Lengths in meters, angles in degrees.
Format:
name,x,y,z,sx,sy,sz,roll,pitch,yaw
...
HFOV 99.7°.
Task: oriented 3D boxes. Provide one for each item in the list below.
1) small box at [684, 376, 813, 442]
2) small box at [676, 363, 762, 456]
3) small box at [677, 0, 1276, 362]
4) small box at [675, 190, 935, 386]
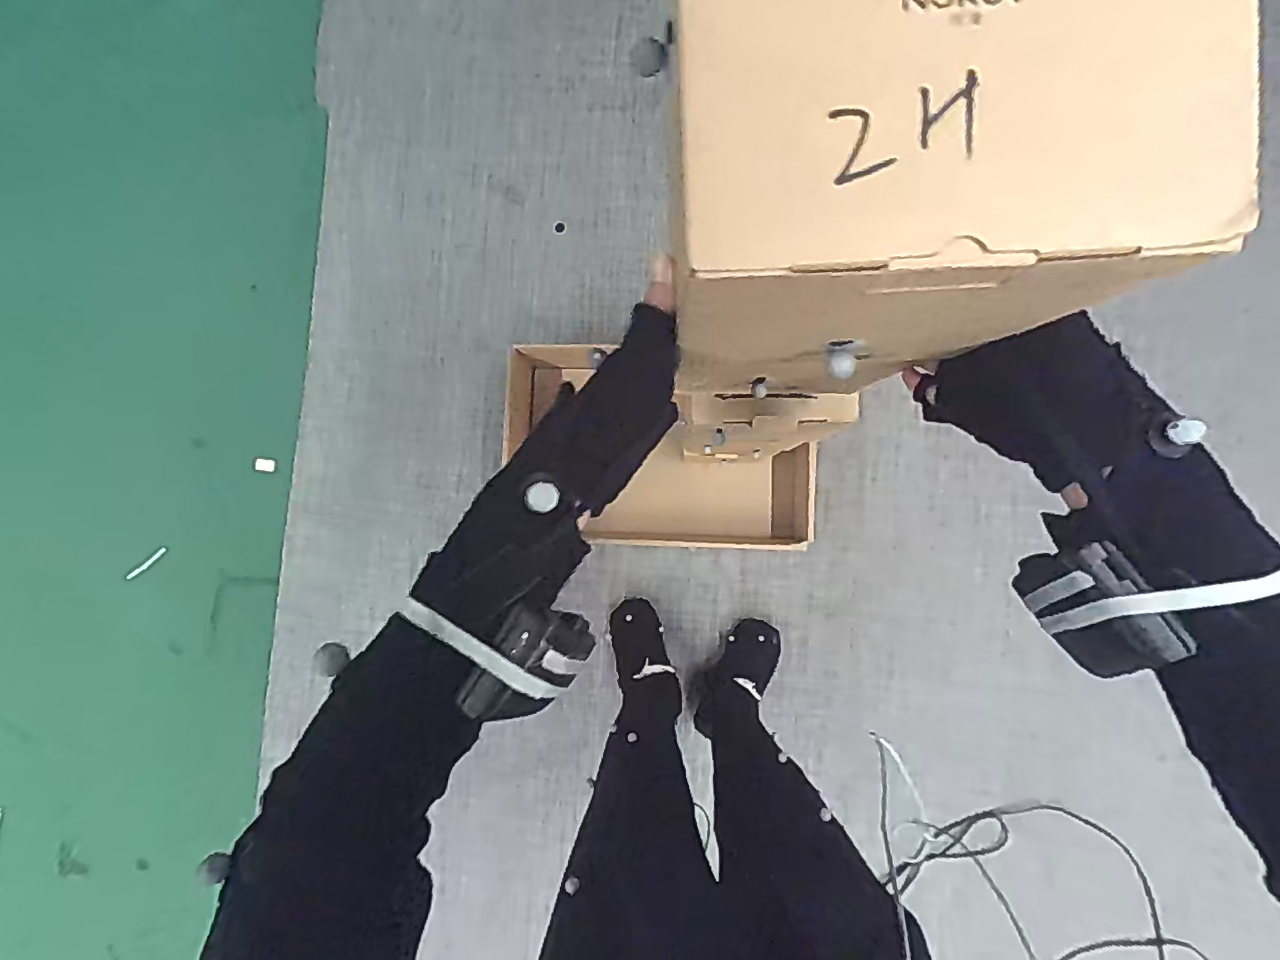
name,x,y,z,sx,sy,sz,roll,pitch,yaw
small box,0.150,-0.150,0.783,0.168,0.176,0.179,3,88,4
small box,0.162,-0.142,1.112,0.168,0.176,0.179,-2,87,5
small box,0.102,-0.156,0.238,0.168,0.176,0.179,-1,93,2
small box,0.112,-0.170,0.403,0.168,0.176,0.179,0,93,1
